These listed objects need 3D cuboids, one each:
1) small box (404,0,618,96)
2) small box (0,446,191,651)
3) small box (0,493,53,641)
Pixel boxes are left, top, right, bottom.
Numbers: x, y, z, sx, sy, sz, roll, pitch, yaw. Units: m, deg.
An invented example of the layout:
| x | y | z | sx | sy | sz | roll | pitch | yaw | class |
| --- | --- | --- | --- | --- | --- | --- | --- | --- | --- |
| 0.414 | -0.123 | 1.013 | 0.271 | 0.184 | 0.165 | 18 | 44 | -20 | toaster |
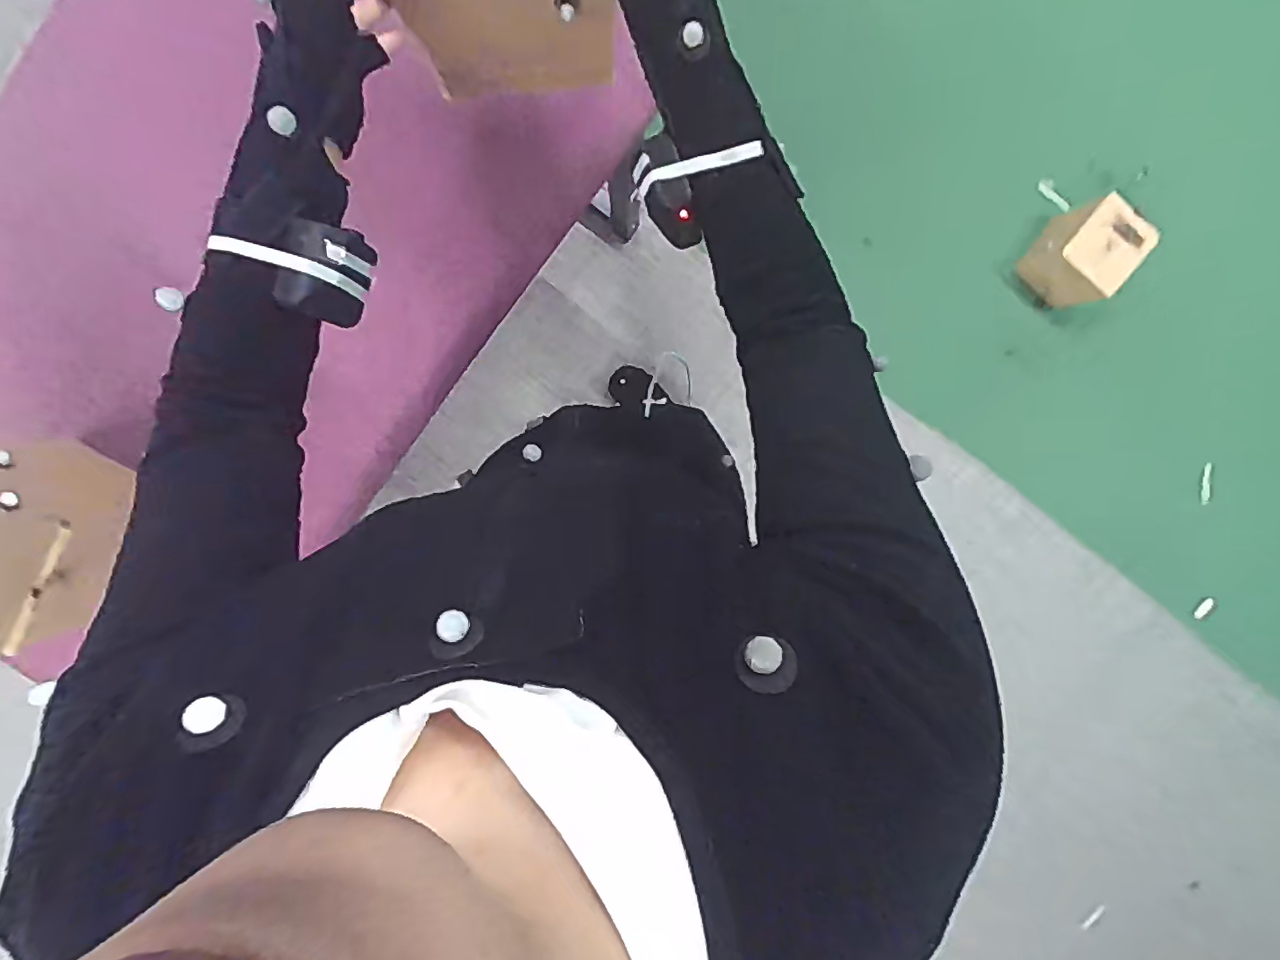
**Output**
| x | y | z | sx | sy | sz | roll | pitch | yaw | class |
| --- | --- | --- | --- | --- | --- | --- | --- | --- | --- |
| -0.111 | -0.455 | 0.454 | 0.179 | 0.176 | 0.168 | -7 | 100 | -3 | small box |
| -0.718 | 0.068 | 0.656 | 0.179 | 0.176 | 0.168 | 30 | 96 | -5 | small box |
| -0.714 | 0.081 | 0.490 | 0.168 | 0.176 | 0.179 | 32 | 95 | -3 | small box |
